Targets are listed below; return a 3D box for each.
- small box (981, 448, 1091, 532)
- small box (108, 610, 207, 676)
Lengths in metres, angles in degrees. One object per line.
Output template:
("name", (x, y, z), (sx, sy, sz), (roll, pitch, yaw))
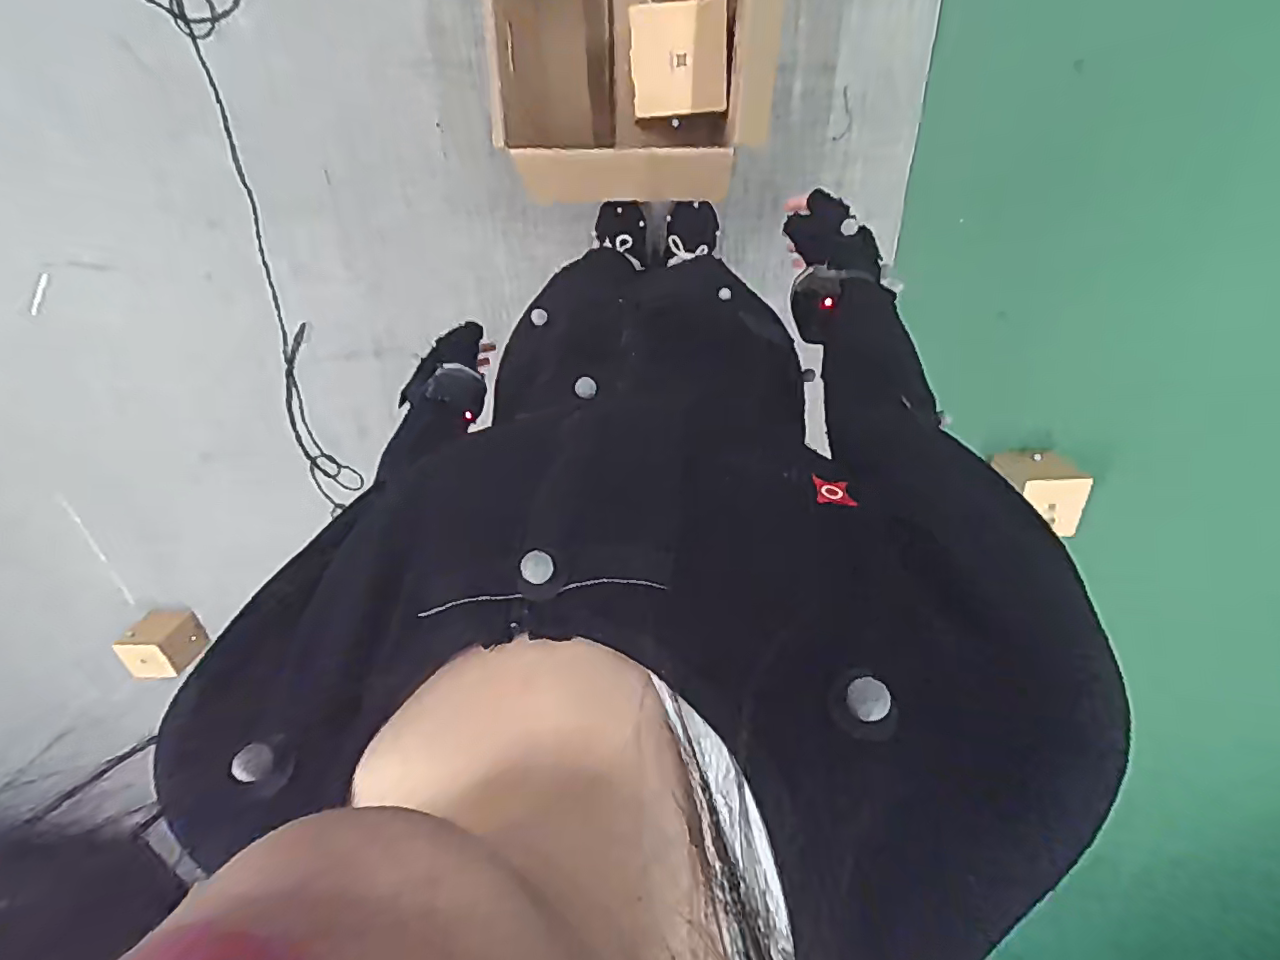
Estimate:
("small box", (1.071, 0.026, 1.484), (0.168, 0.176, 0.179), (-2, 119, 4))
("small box", (-1.747, 0.589, 1.968), (0.179, 0.176, 0.168), (-1, 121, 4))
